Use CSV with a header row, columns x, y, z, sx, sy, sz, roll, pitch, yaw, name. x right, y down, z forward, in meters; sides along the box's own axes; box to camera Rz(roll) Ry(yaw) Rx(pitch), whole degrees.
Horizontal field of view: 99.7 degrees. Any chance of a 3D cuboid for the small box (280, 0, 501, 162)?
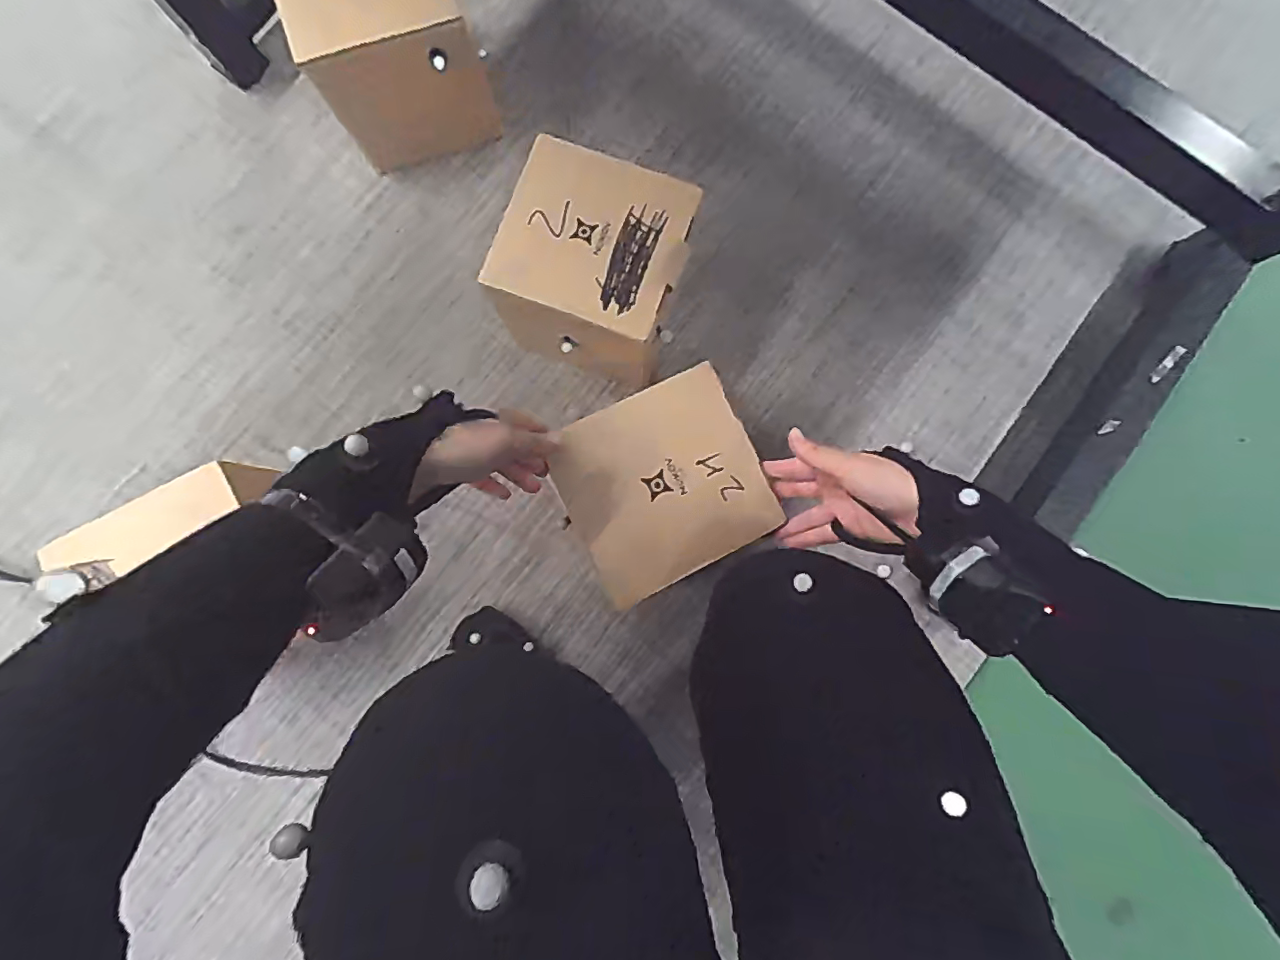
x,y,z,sx,sy,sz,roll,pitch,yaw,name
-0.282,-0.509,0.623,0.179,0.176,0.168,-19,84,-3,small box
